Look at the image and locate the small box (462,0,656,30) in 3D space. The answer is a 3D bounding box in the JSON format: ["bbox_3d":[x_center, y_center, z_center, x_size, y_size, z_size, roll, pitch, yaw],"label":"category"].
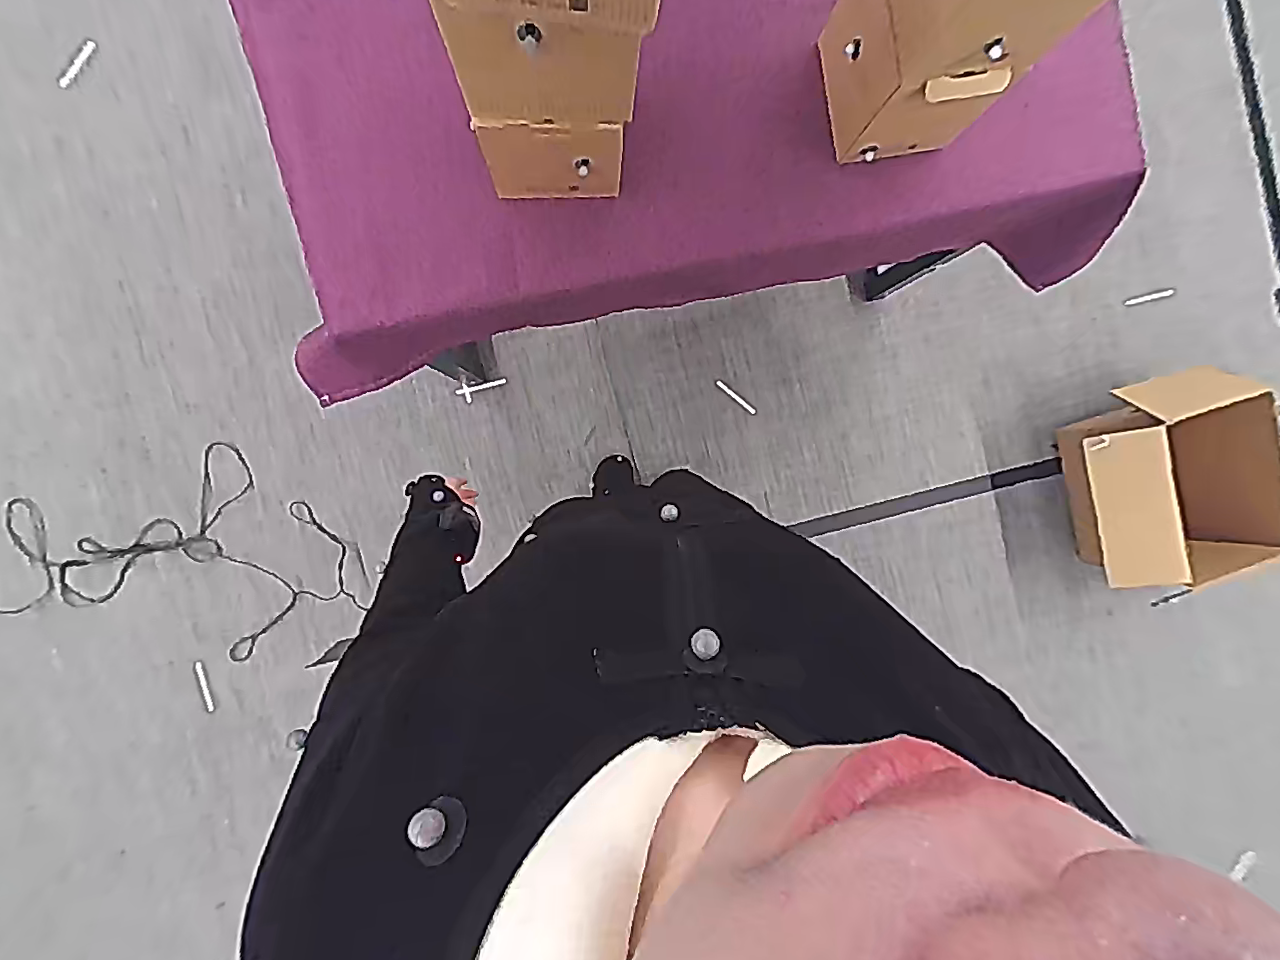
[{"bbox_3d":[-0.057,-0.443,0.336,0.168,0.176,0.179,3,92,-6],"label":"small box"}]

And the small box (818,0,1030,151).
[{"bbox_3d":[0.347,-0.550,0.689,0.168,0.176,0.179,-11,93,-4],"label":"small box"}]

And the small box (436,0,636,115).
[{"bbox_3d":[-0.091,-0.469,0.496,0.179,0.176,0.168,-2,94,-6],"label":"small box"}]

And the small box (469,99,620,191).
[{"bbox_3d":[-0.110,-0.475,0.659,0.168,0.176,0.179,-3,93,-5],"label":"small box"}]
